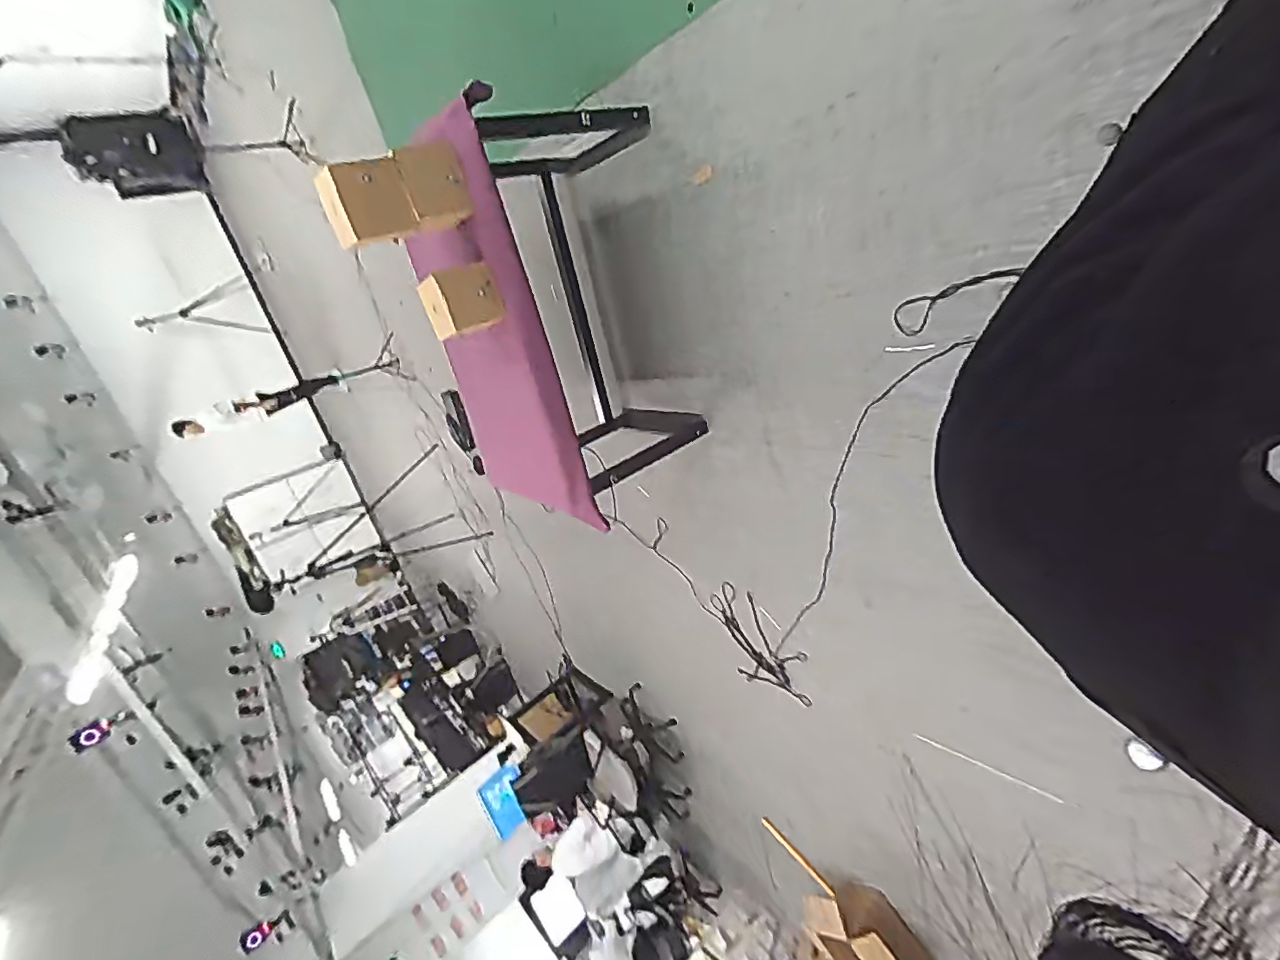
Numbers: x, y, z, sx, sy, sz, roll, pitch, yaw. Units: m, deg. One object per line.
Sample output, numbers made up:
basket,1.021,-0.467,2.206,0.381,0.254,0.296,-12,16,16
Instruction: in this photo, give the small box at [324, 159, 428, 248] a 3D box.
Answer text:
small box,-0.689,-0.726,1.417,0.168,0.176,0.179,16,128,48

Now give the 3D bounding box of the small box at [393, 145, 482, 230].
small box,-0.567,-0.804,1.494,0.168,0.176,0.179,8,121,52

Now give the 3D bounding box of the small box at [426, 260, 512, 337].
small box,-0.510,-0.542,1.622,0.179,0.176,0.168,5,119,54
